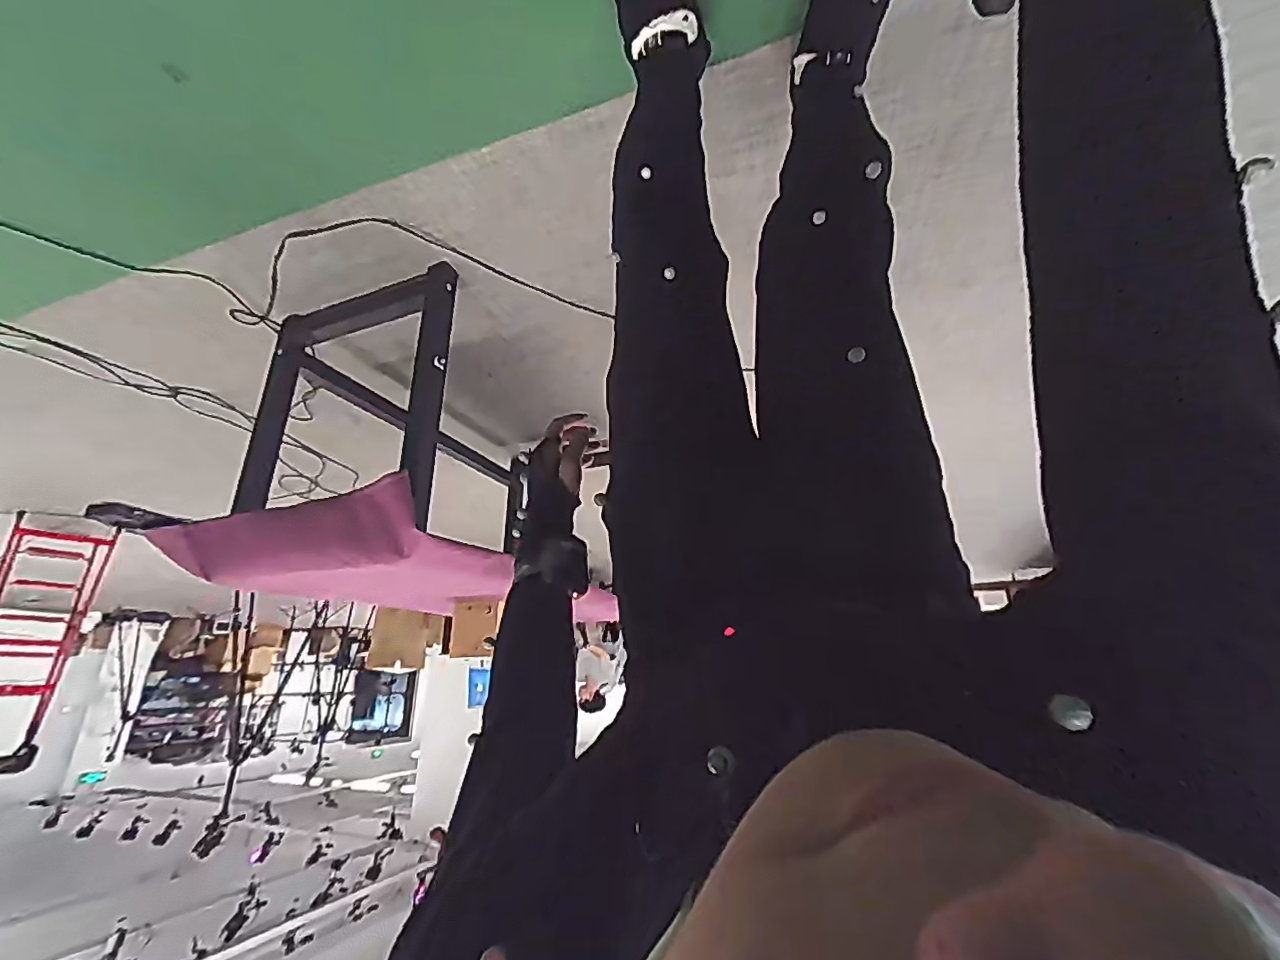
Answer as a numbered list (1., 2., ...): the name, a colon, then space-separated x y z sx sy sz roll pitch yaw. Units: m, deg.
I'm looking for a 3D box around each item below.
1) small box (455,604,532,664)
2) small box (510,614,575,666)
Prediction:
1. small box: -0.454 0.482 1.695 0.168 0.176 0.179 -8 159 21
2. small box: -0.348 0.579 1.949 0.179 0.176 0.168 -9 157 21
